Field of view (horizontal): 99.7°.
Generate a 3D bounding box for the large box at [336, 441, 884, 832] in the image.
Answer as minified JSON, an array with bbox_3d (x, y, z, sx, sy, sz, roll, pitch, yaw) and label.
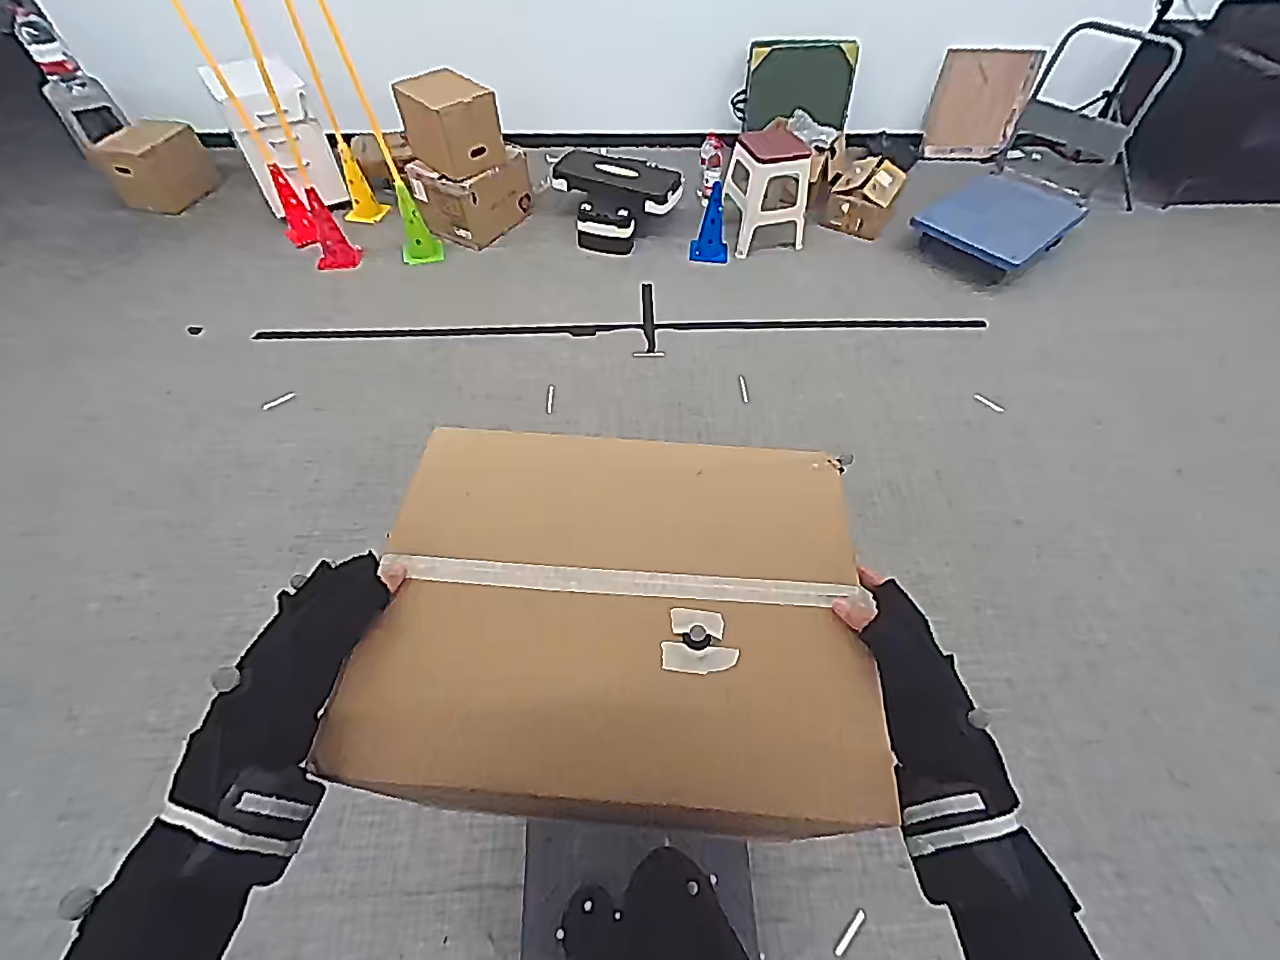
[{"bbox_3d":[-0.018,0.181,0.591,0.408,0.320,0.320,4,55,2],"label":"large box"}]
